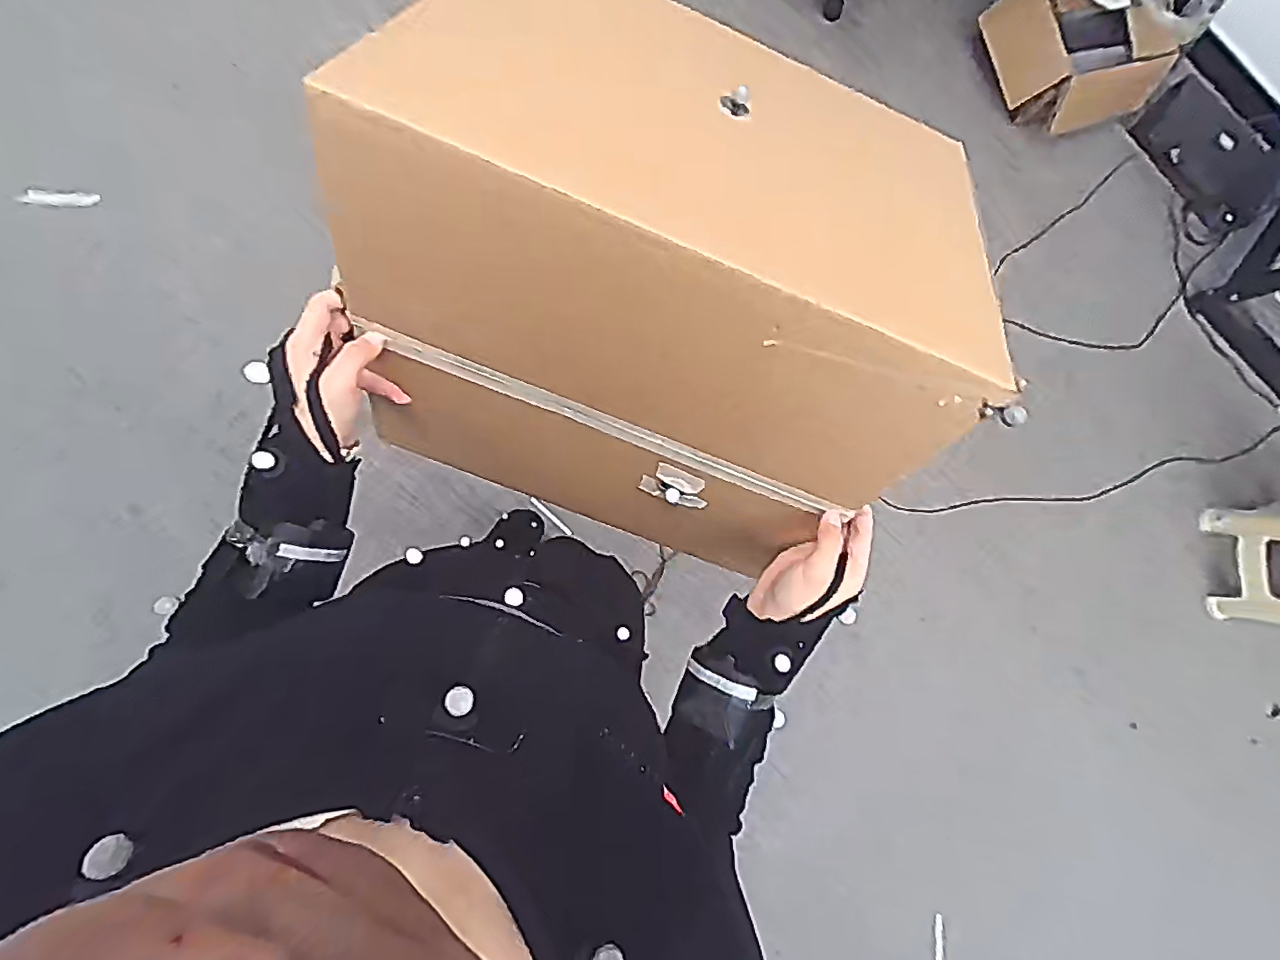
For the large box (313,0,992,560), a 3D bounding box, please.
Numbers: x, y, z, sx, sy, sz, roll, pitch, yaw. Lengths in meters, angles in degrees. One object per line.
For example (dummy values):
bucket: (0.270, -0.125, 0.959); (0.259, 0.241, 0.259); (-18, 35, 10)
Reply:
large box: (0.010, -0.175, 0.499); (0.408, 0.320, 0.320); (19, 57, -6)
